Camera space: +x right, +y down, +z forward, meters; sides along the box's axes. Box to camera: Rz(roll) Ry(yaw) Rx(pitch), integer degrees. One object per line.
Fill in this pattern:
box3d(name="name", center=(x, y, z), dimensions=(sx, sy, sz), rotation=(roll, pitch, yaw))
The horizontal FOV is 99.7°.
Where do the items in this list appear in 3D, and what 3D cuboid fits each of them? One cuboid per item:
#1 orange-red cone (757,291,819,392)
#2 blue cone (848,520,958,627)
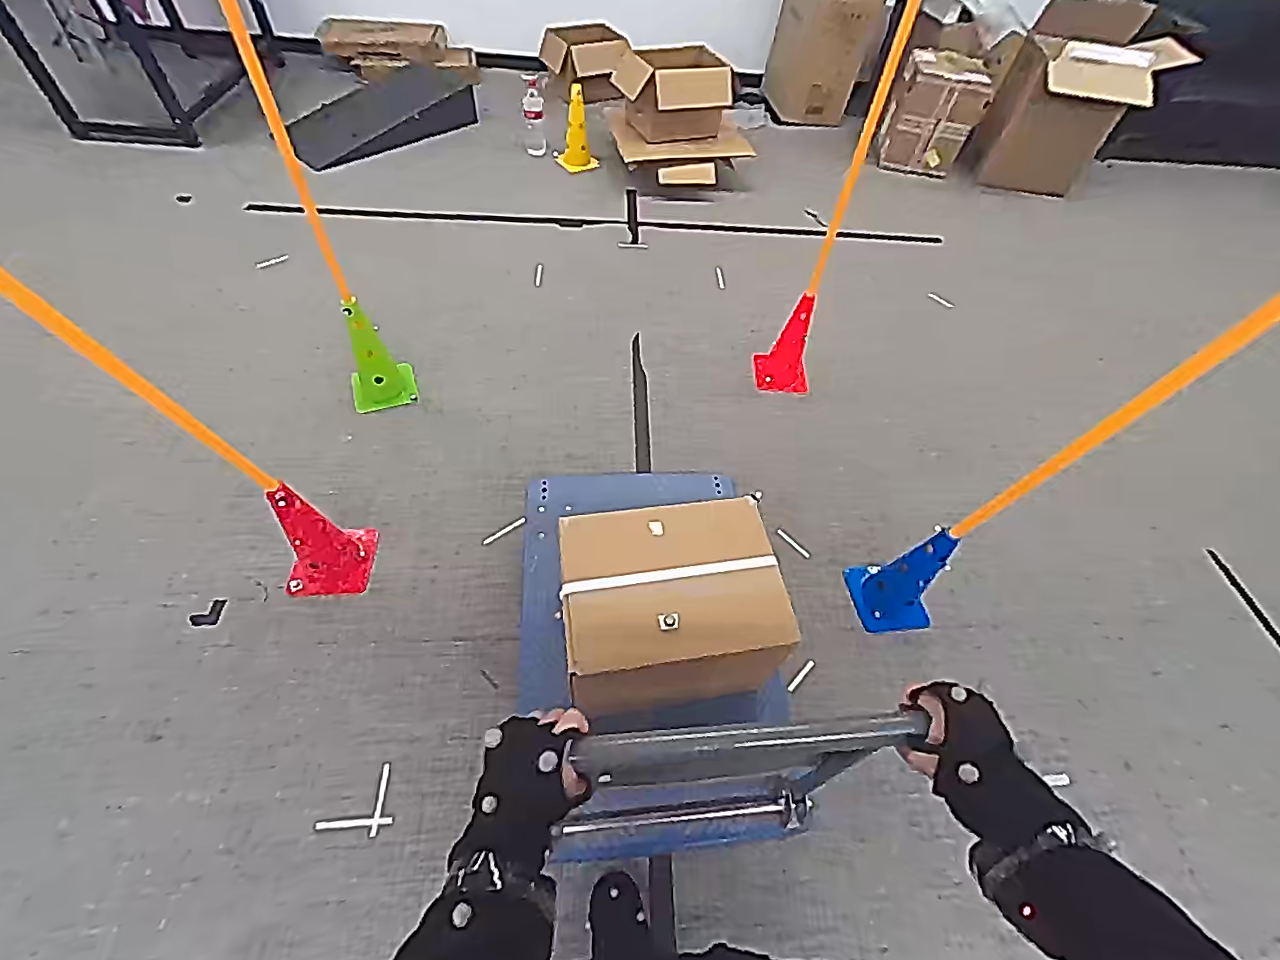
box3d(name="orange-red cone", center=(0.559, -0.512, 1.922), dimensions=(0.199, 0.360, 0.198), rotation=(7, 54, -2))
box3d(name="blue cone", center=(0.722, 0.229, 1.416), dimensions=(0.193, 0.380, 0.192), rotation=(-2, 53, -8))
